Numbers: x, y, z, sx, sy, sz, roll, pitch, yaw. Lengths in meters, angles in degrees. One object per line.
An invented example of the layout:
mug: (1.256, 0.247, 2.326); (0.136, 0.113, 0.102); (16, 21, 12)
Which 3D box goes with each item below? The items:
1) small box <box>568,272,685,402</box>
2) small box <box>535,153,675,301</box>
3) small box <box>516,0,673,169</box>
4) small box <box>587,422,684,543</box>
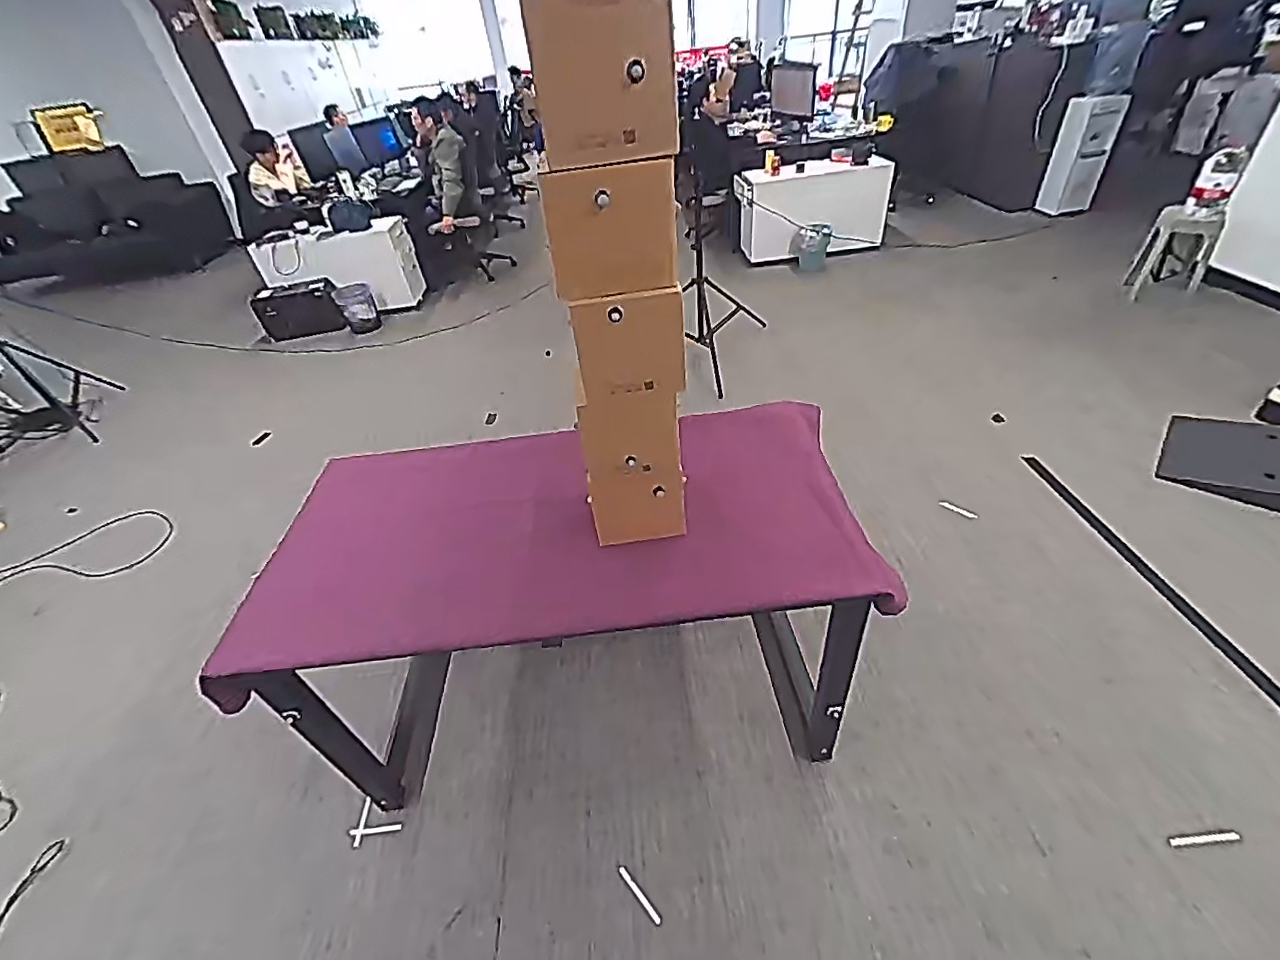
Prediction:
small box: (-0.022, -0.247, 0.881); (0.168, 0.176, 0.179); (-8, 39, -1)
small box: (-0.045, -0.378, 0.787); (0.179, 0.176, 0.168); (-9, 39, -1)
small box: (-0.053, -0.506, 0.687); (0.168, 0.176, 0.179); (-8, 38, -3)
small box: (-0.007, 0.007, 1.088); (0.179, 0.176, 0.168); (-8, 39, 0)
